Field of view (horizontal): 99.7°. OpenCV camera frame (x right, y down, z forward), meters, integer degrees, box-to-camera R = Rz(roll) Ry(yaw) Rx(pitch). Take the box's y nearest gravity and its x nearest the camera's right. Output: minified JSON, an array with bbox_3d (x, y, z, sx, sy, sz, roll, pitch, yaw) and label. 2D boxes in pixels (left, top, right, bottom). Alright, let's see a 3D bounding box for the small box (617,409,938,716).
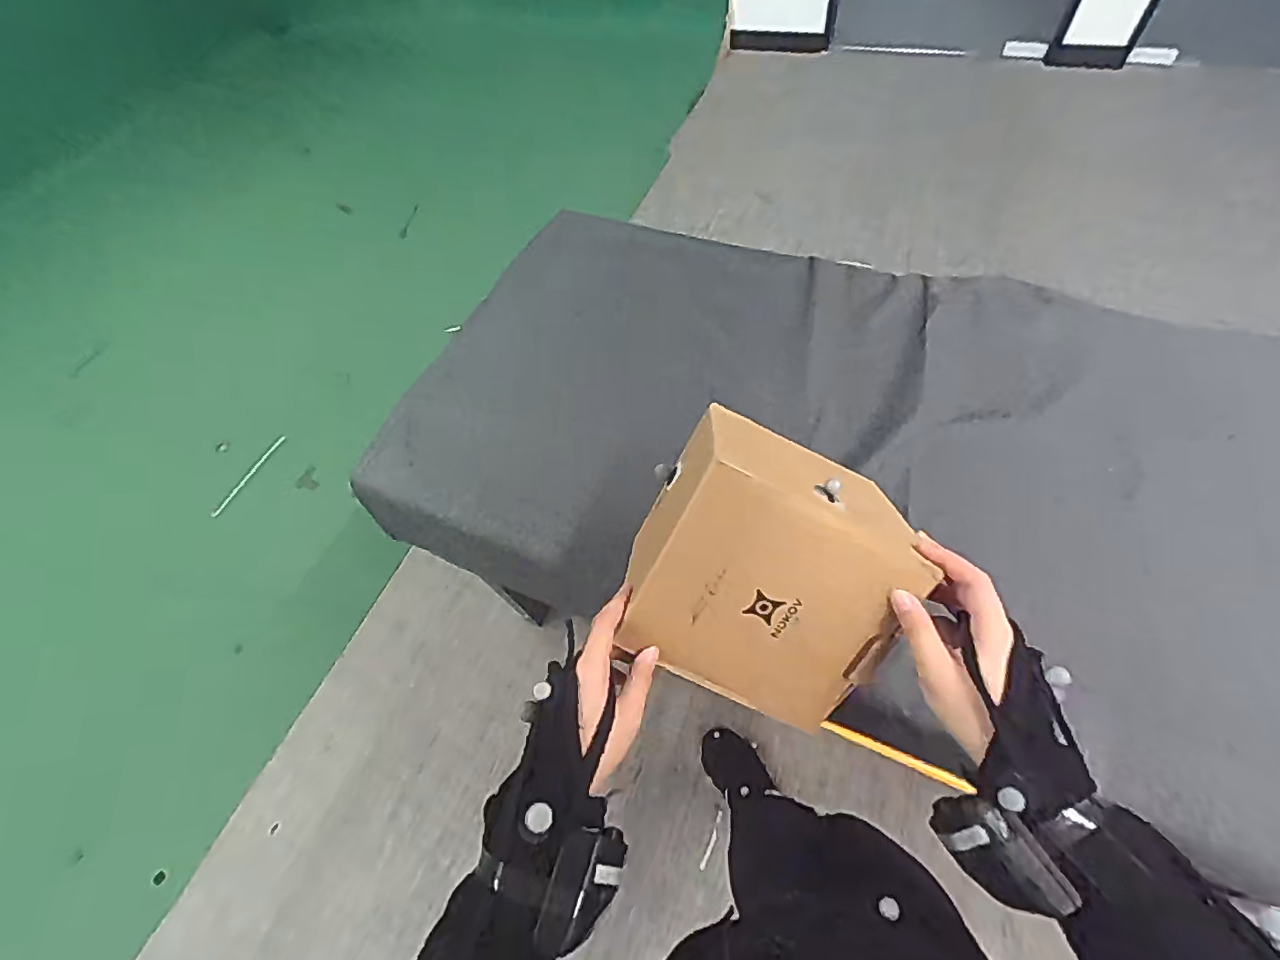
[{"bbox_3d":[0.100,0.055,0.462,0.179,0.168,0.176,24,20,-3],"label":"small box"}]
